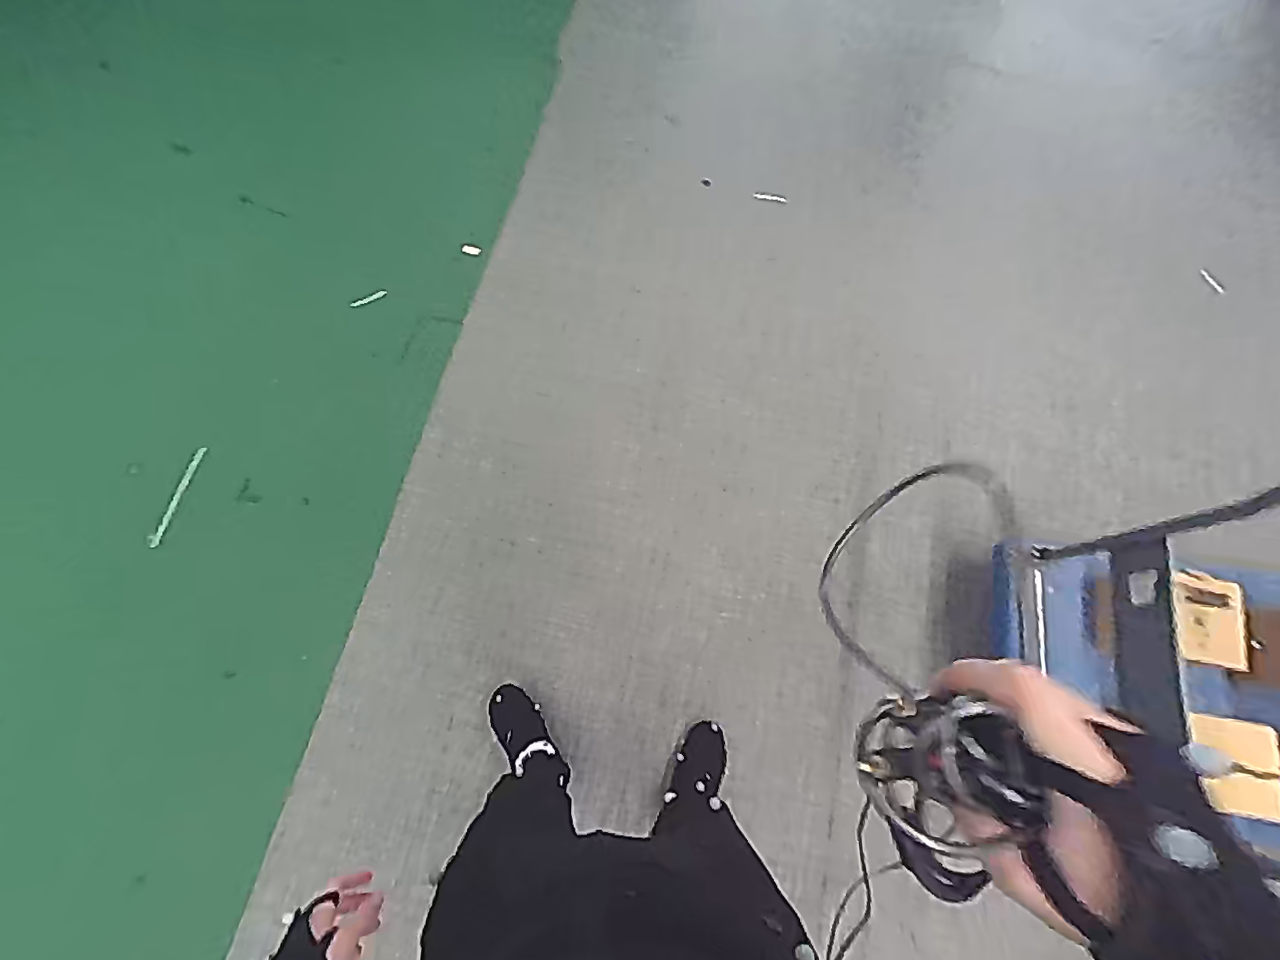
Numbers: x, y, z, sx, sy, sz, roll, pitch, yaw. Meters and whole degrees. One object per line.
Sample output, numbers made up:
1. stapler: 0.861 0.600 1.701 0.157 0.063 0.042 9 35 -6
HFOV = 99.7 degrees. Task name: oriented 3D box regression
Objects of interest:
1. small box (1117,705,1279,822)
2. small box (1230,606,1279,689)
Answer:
1. small box: 1.122 0.559 1.089 0.179 0.176 0.168 9 73 6
2. small box: 1.411 0.359 1.137 0.179 0.176 0.168 4 74 4
